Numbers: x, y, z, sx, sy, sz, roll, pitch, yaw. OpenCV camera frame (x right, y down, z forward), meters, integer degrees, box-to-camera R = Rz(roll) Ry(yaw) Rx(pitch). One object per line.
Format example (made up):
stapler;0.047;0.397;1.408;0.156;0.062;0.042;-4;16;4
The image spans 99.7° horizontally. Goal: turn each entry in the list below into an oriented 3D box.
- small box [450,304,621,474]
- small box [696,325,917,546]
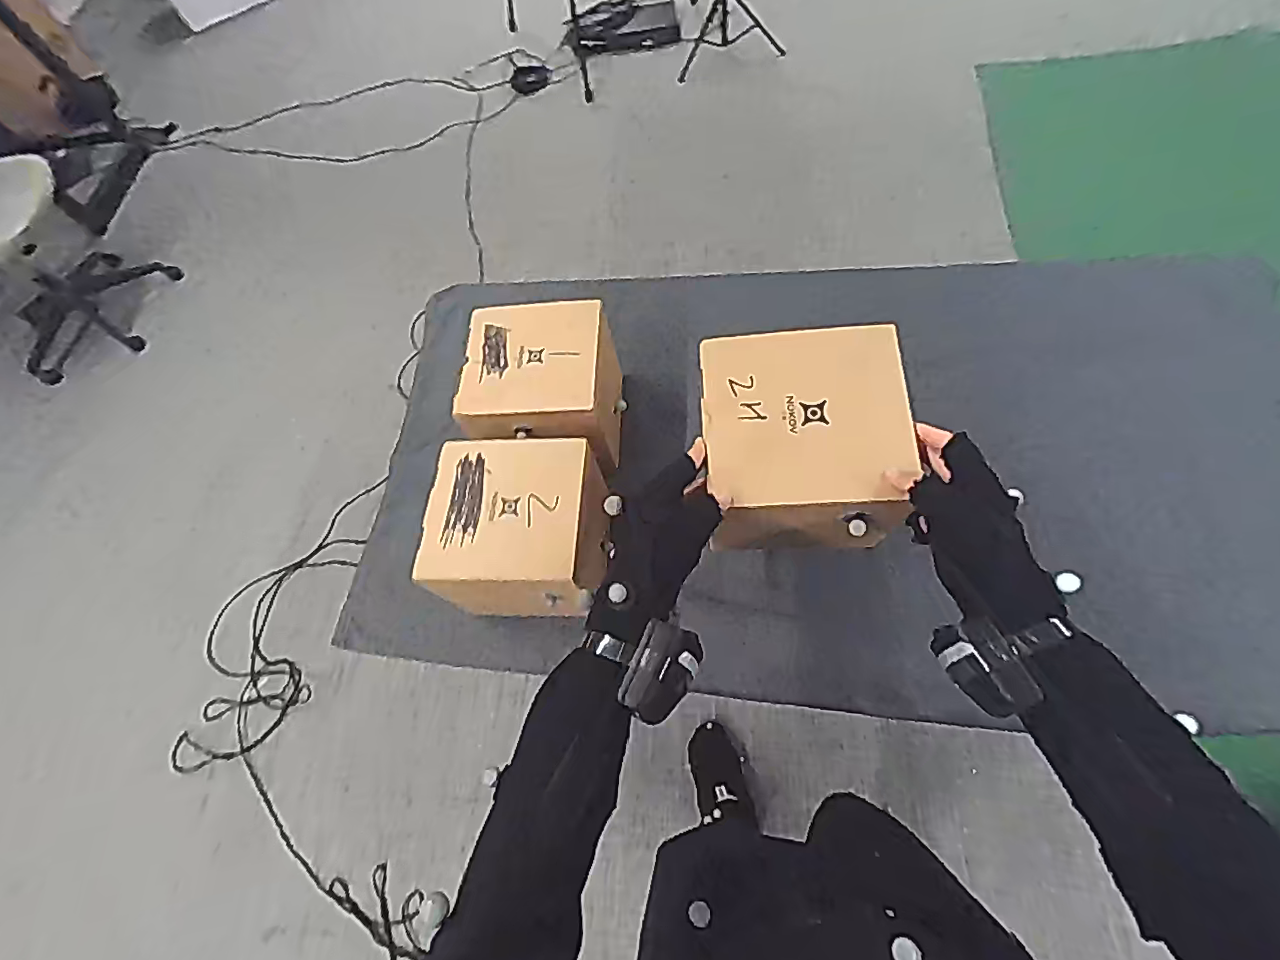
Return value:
small box;-0.129;-0.114;0.741;0.179;0.176;0.168;-2;66;8
small box;0.149;-0.032;0.543;0.179;0.176;0.168;-3;70;9
